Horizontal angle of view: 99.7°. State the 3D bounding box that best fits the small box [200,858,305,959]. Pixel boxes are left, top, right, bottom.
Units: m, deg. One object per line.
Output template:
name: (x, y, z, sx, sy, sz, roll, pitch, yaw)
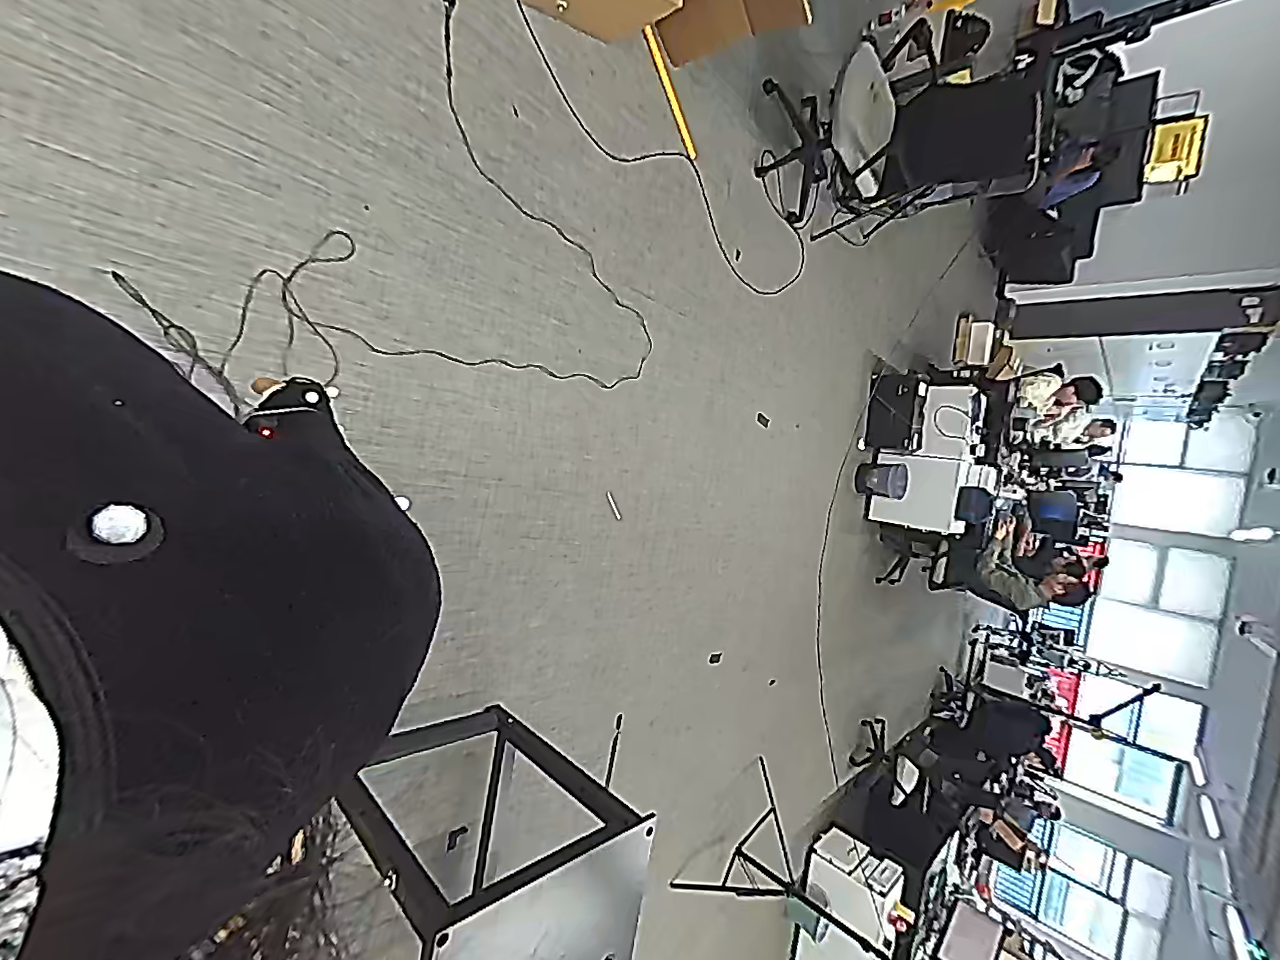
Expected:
small box: (-0.960, 1.090, 1.339, 0.179, 0.176, 0.168, 7, 93, -46)
